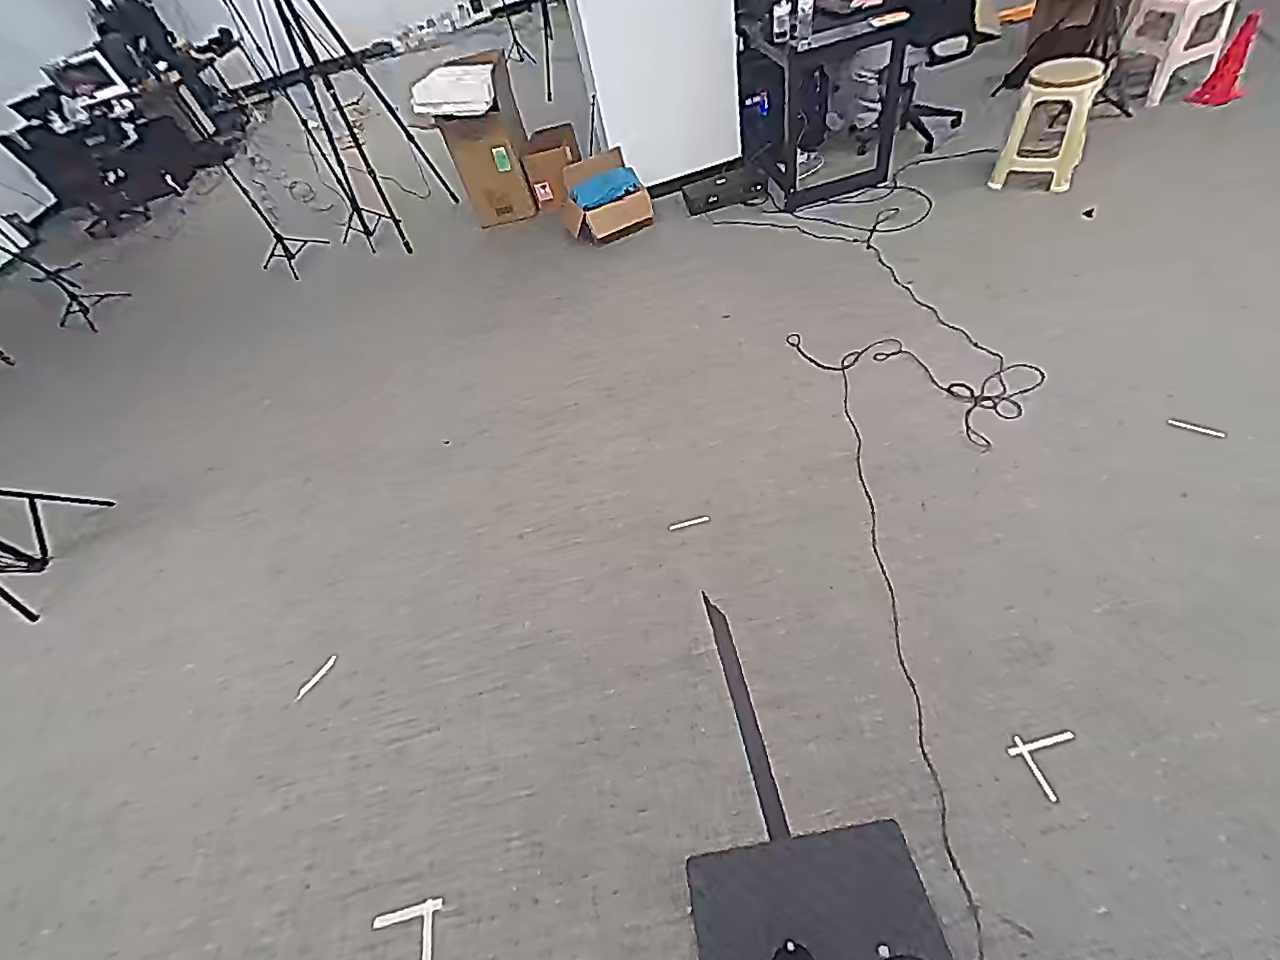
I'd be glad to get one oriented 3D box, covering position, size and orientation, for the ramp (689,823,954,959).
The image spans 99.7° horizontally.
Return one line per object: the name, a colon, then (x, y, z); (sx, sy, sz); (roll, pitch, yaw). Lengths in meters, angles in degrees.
ramp: (0.394, 1.142, 0.853); (0.509, 0.206, 0.991); (-16, 48, 3)
